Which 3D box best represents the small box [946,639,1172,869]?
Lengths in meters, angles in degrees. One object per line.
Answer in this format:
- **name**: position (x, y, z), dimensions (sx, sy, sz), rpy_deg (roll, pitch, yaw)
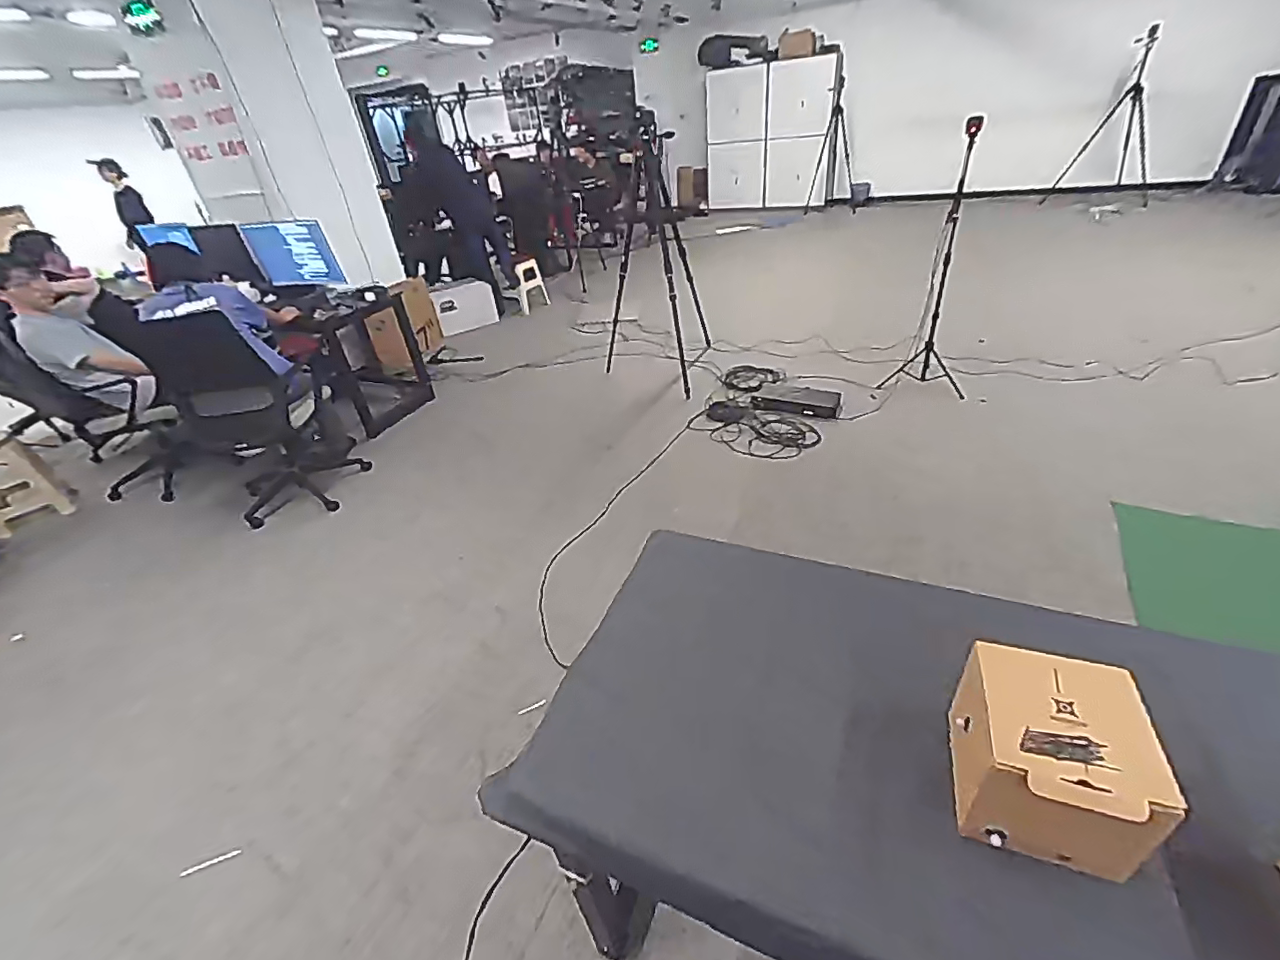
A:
- **small box**: position (0.491, 0.334, 0.669), dimensions (0.168, 0.176, 0.179), rpy_deg (8, 36, 20)
